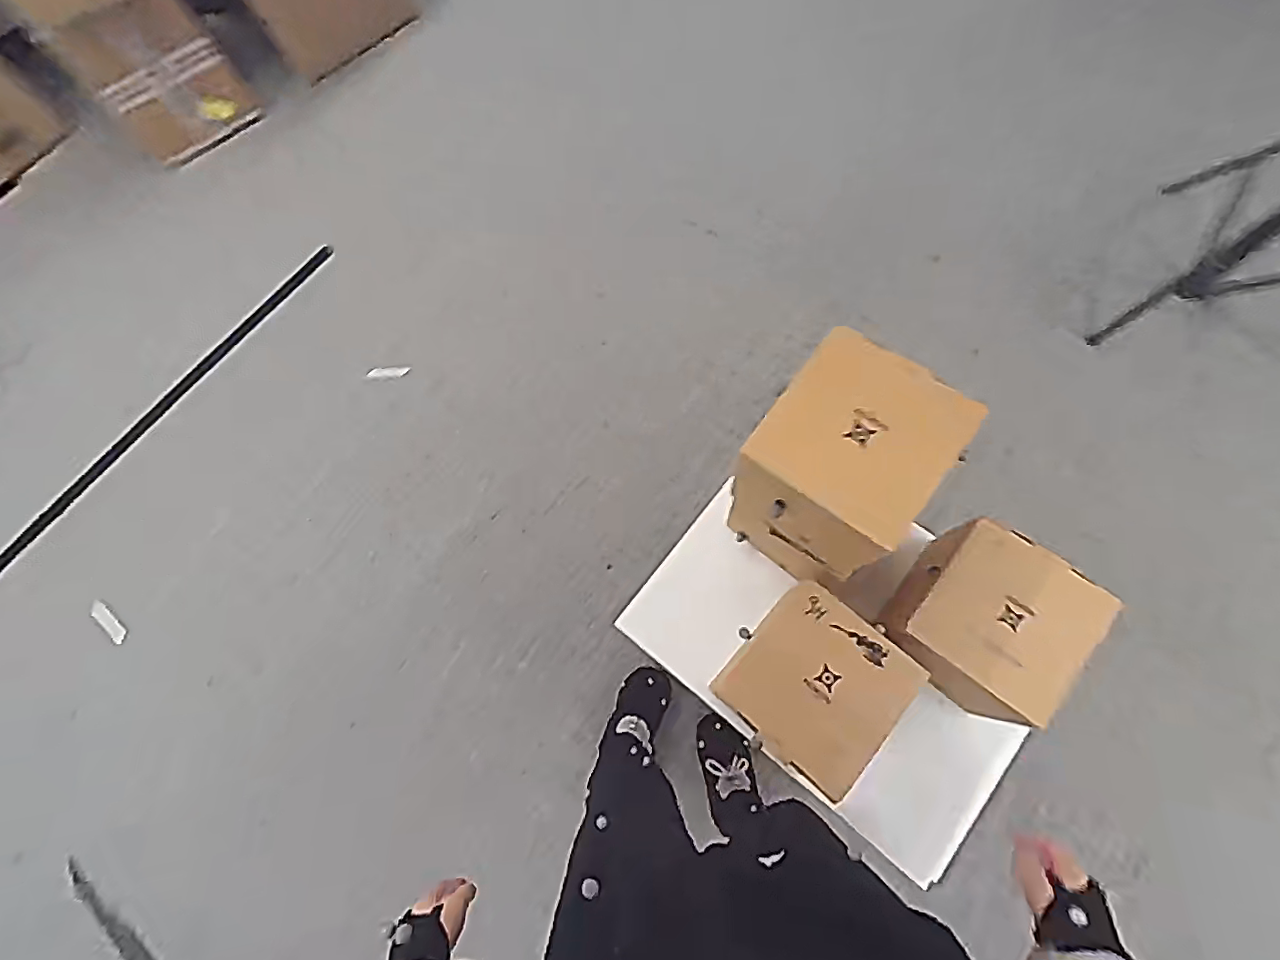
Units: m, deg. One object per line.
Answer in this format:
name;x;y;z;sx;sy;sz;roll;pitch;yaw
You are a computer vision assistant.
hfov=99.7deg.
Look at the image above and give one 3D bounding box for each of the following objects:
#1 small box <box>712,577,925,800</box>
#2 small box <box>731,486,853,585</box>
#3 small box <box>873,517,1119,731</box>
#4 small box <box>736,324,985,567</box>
small box;0.206;0.248;0.674;0.168;0.176;0.179;40;80;15
small box;0.240;0.027;0.741;0.168;0.176;0.179;39;79;15
small box;0.423;0.177;0.679;0.168;0.176;0.179;37;81;17
small box;0.219;-0.025;0.589;0.168;0.176;0.179;36;79;14
